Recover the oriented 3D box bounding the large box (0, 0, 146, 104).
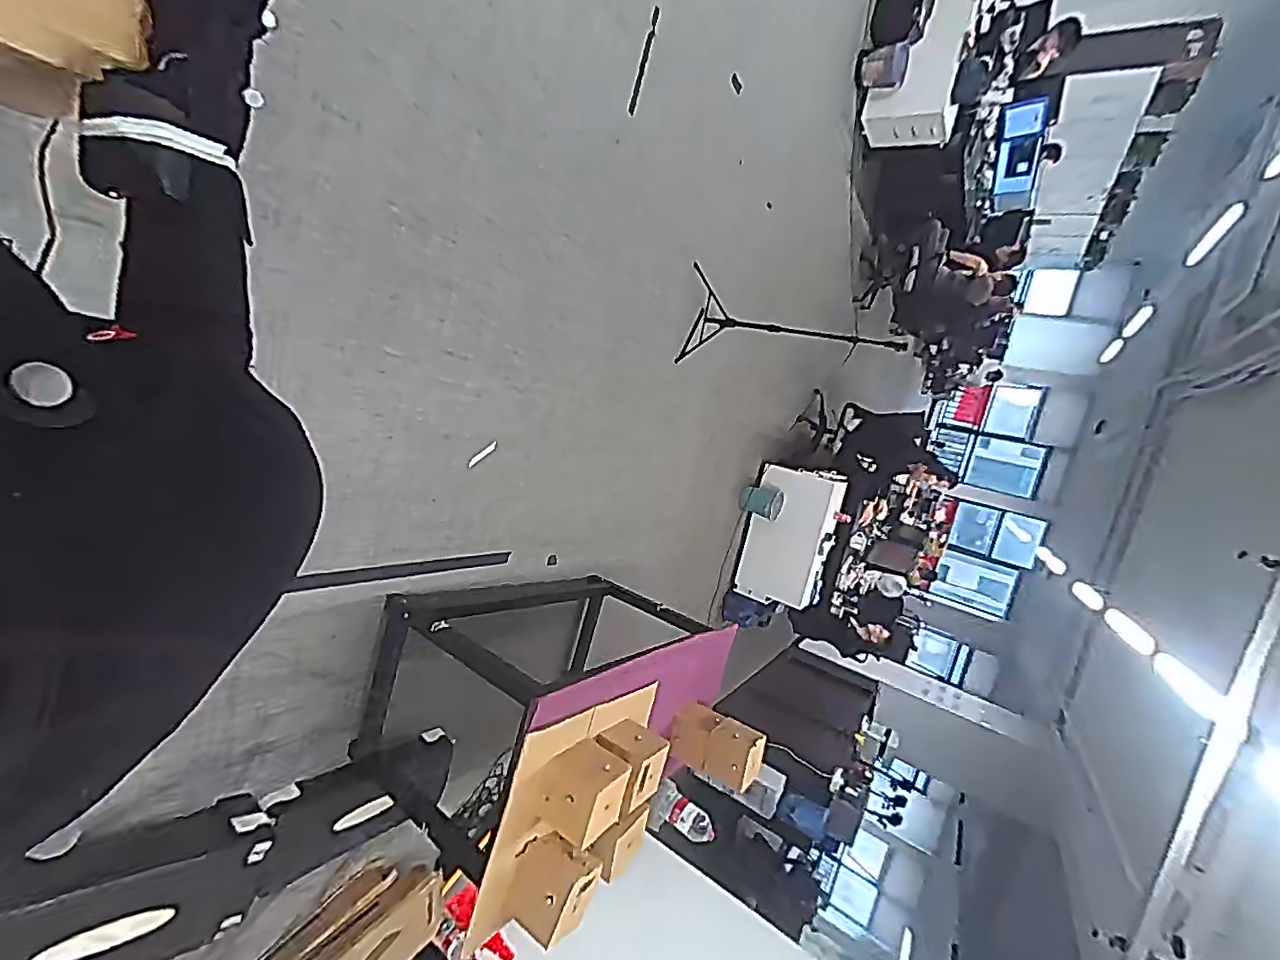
[{"bbox_3d":[-0.546,-0.459,0.263,0.408,0.320,0.320,-2,111,-57],"label":"large box"}]
